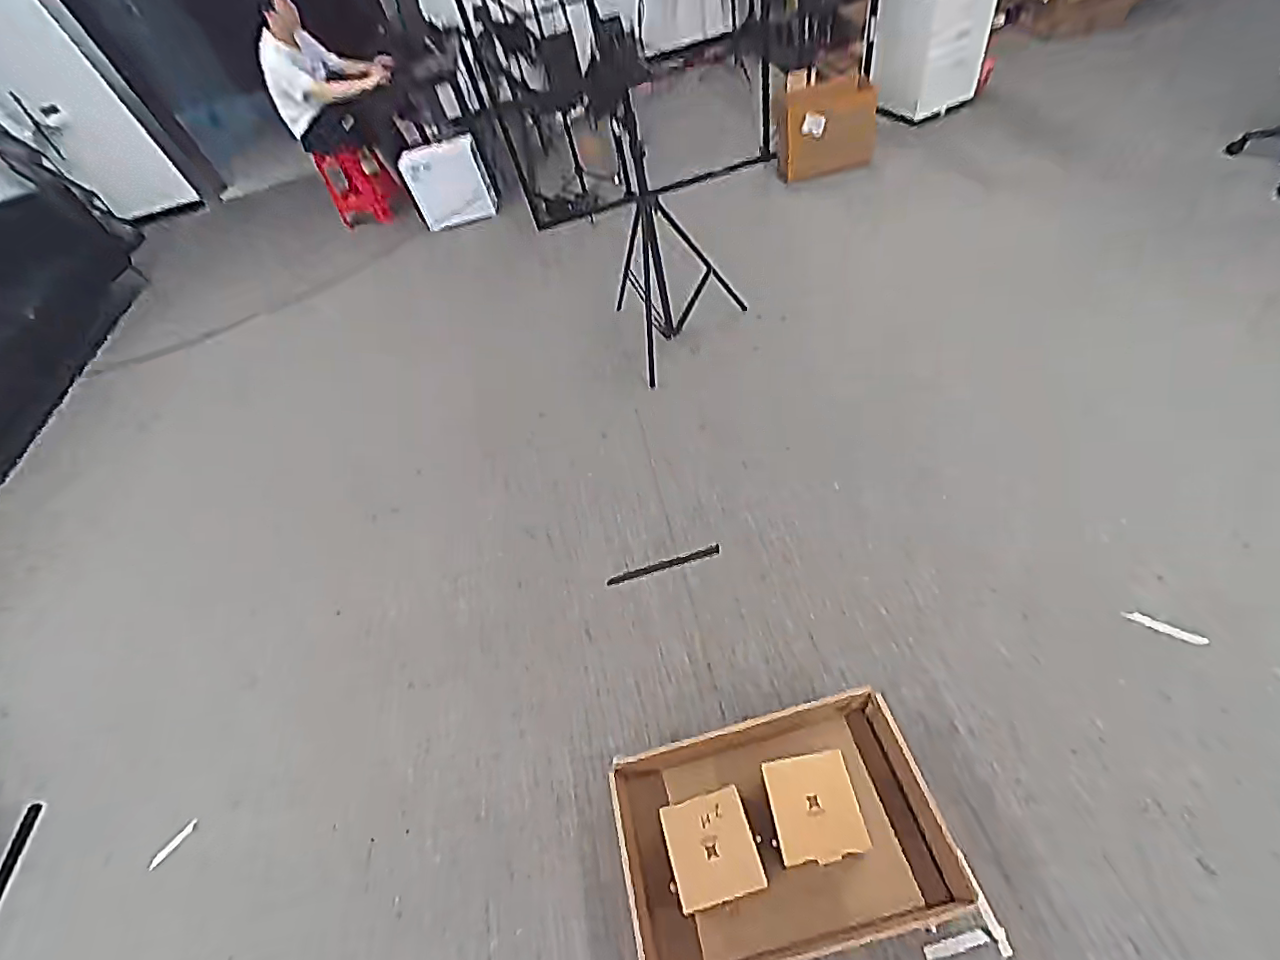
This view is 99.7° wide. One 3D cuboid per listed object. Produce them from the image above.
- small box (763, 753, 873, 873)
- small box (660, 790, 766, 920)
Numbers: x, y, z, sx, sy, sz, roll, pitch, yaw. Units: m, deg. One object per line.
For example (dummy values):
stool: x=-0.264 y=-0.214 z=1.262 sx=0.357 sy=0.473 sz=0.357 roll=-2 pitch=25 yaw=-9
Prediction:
small box: x=0.355 y=0.687 z=1.111 sx=0.168 sy=0.176 sz=0.179 roll=-13 pitch=51 yaw=5
small box: x=0.151 y=0.762 z=1.101 sx=0.168 sy=0.176 sz=0.179 roll=-17 pitch=50 yaw=-1
